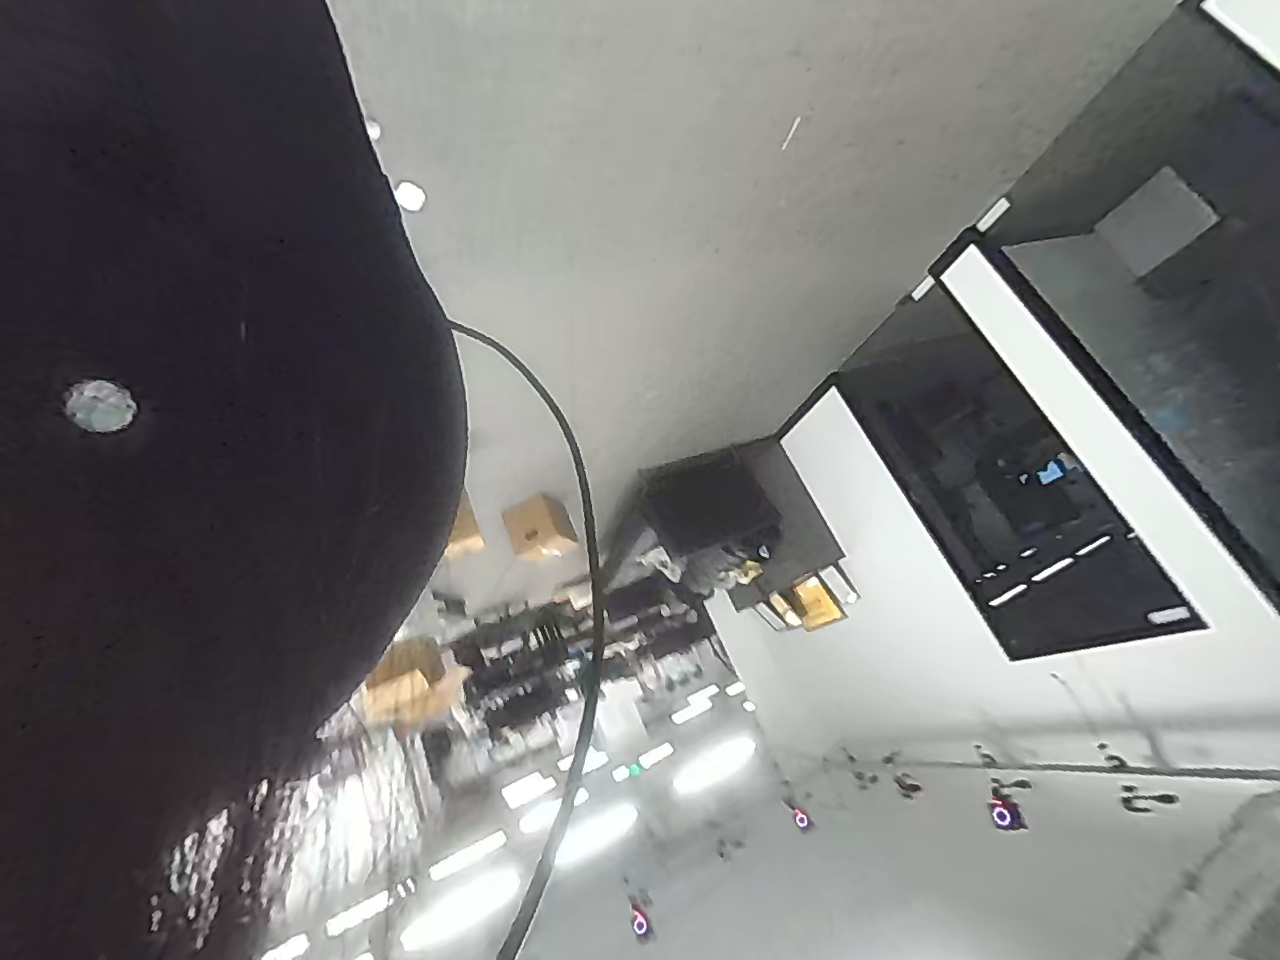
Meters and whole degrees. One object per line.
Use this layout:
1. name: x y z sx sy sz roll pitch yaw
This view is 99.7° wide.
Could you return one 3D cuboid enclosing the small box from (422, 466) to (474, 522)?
1. small box: -0.852 0.060 2.393 0.179 0.176 0.168 -20 163 -19
